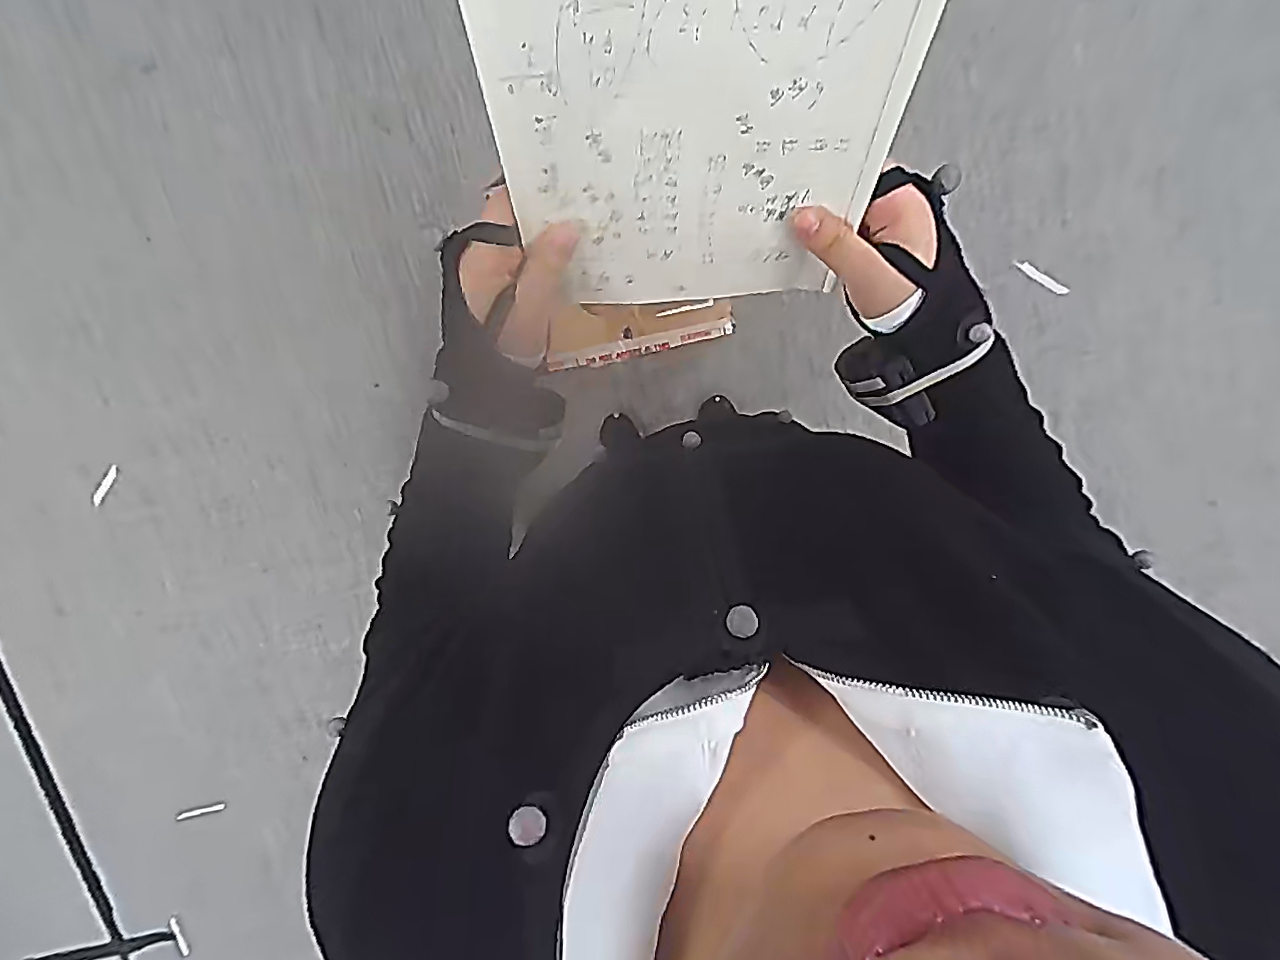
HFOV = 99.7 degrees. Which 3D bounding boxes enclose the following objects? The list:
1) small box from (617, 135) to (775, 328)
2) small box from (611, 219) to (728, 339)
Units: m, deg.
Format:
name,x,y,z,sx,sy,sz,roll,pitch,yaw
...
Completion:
name,x,y,z,sx,sy,sz,roll,pitch,yaw
small box,0.065,-0.316,0.723,0.168,0.176,0.179,-13,99,0
small box,0.057,-0.340,0.886,0.179,0.176,0.168,-16,98,1
